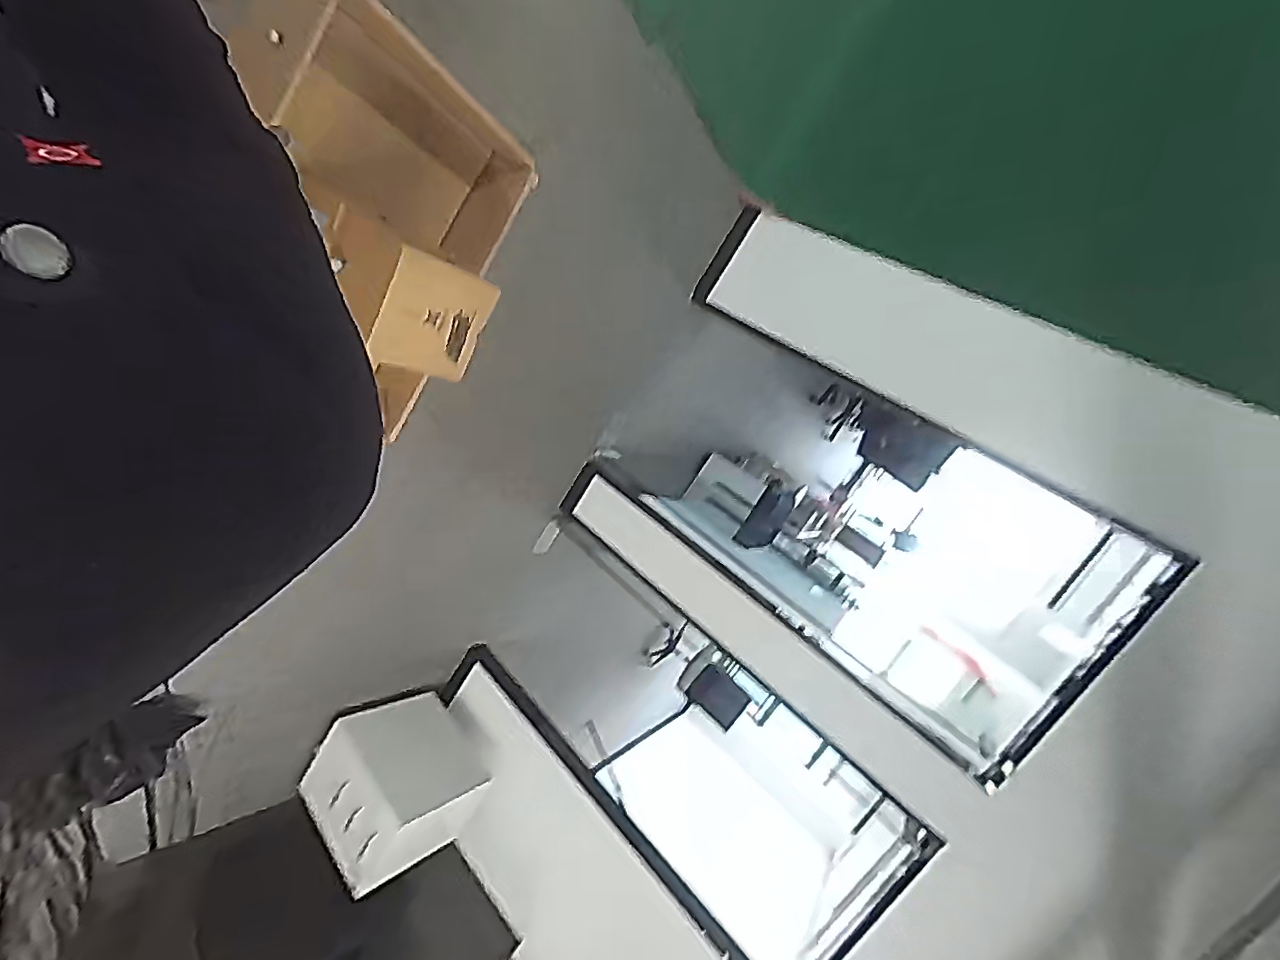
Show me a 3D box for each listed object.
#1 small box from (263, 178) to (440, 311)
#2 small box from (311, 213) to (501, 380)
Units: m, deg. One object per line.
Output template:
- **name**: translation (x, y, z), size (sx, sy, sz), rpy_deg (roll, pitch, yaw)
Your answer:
- **small box**: translation (-0.475, -0.366, 0.895), size (0.179, 0.176, 0.168), rpy_deg (1, 121, -60)
- **small box**: translation (-0.356, -0.276, 0.826), size (0.179, 0.176, 0.168), rpy_deg (4, 119, -59)
